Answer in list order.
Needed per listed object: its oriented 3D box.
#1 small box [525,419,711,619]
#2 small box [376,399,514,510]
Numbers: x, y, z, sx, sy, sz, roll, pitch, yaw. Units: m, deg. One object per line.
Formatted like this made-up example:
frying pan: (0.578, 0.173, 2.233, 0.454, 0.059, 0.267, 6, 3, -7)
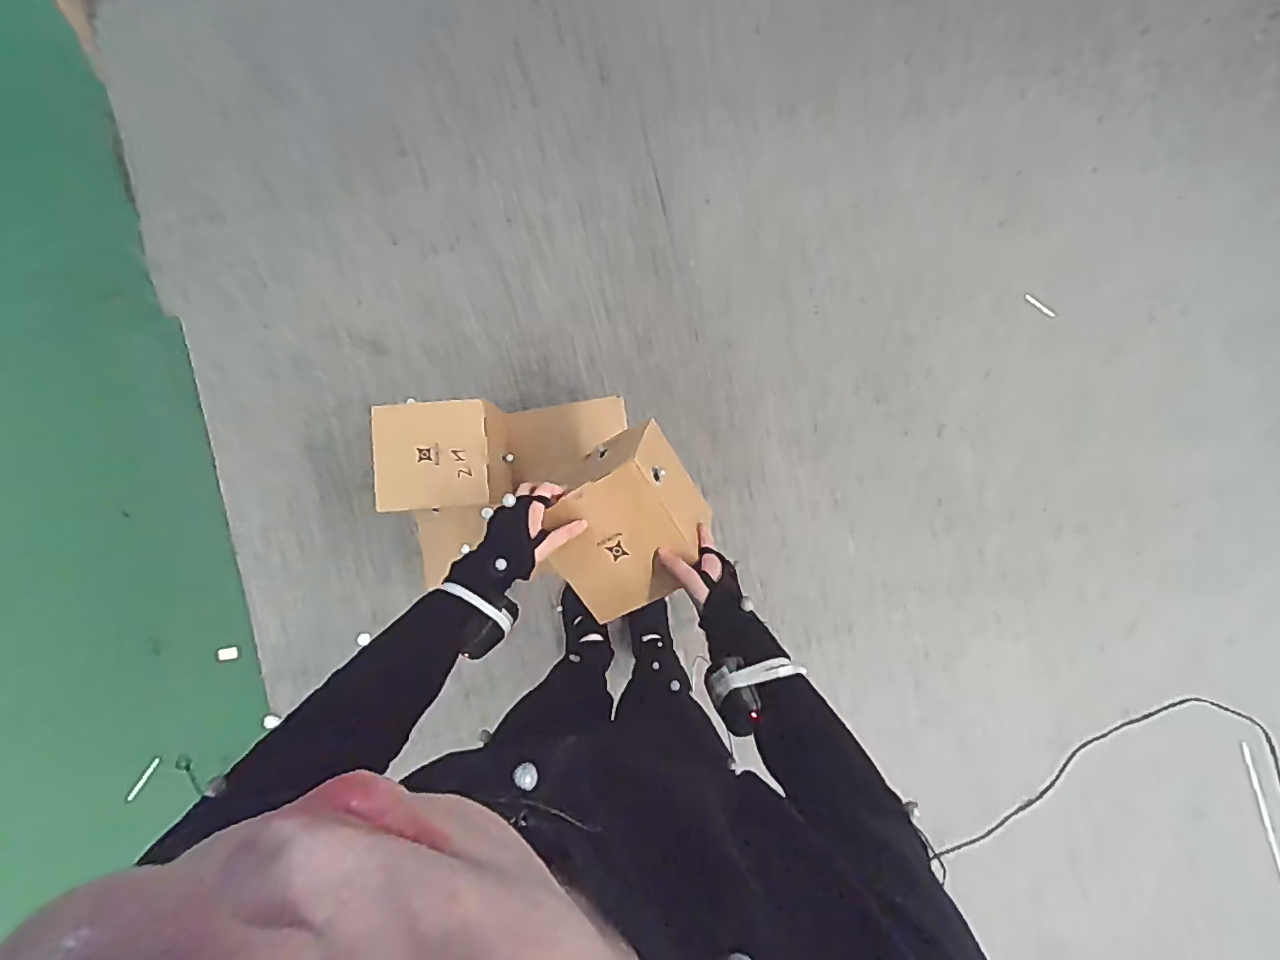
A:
small box: (-0.016, 0.046, 0.722, 0.168, 0.176, 0.179, -29, 106, 20)
small box: (-0.319, -0.036, 0.911, 0.179, 0.176, 0.168, -4, 87, -2)
